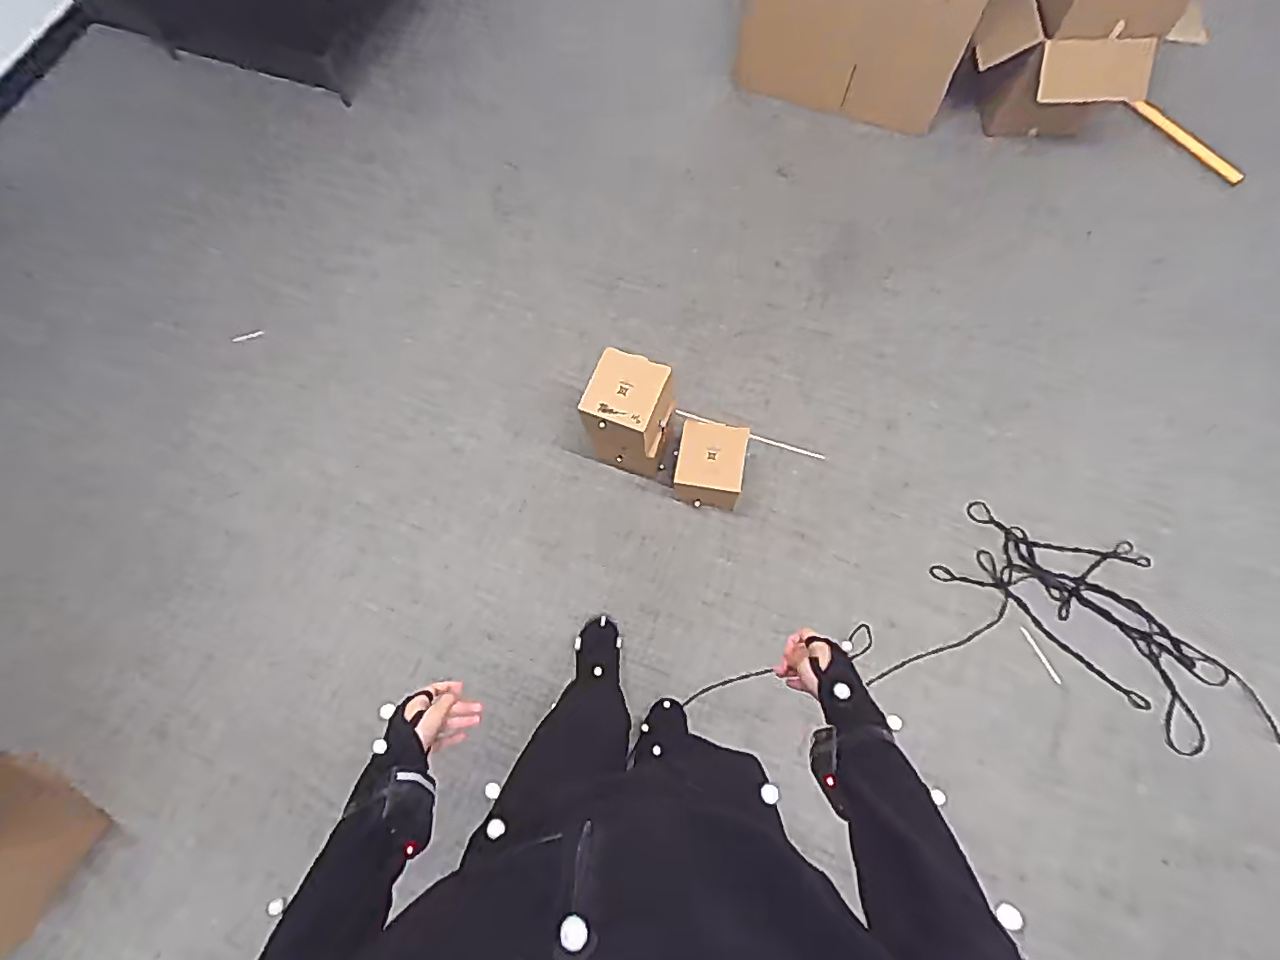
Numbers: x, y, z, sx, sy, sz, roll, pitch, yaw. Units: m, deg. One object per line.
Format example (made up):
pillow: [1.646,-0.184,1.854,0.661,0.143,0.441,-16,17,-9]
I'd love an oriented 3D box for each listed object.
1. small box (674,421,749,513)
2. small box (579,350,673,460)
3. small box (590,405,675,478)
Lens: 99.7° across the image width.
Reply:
small box: [0.183,-0.030,1.411,0.168,0.176,0.179,10,72,8]
small box: [-0.030,-0.175,1.298,0.168,0.176,0.179,21,72,10]
small box: [-0.014,-0.120,1.452,0.179,0.176,0.168,19,73,10]
